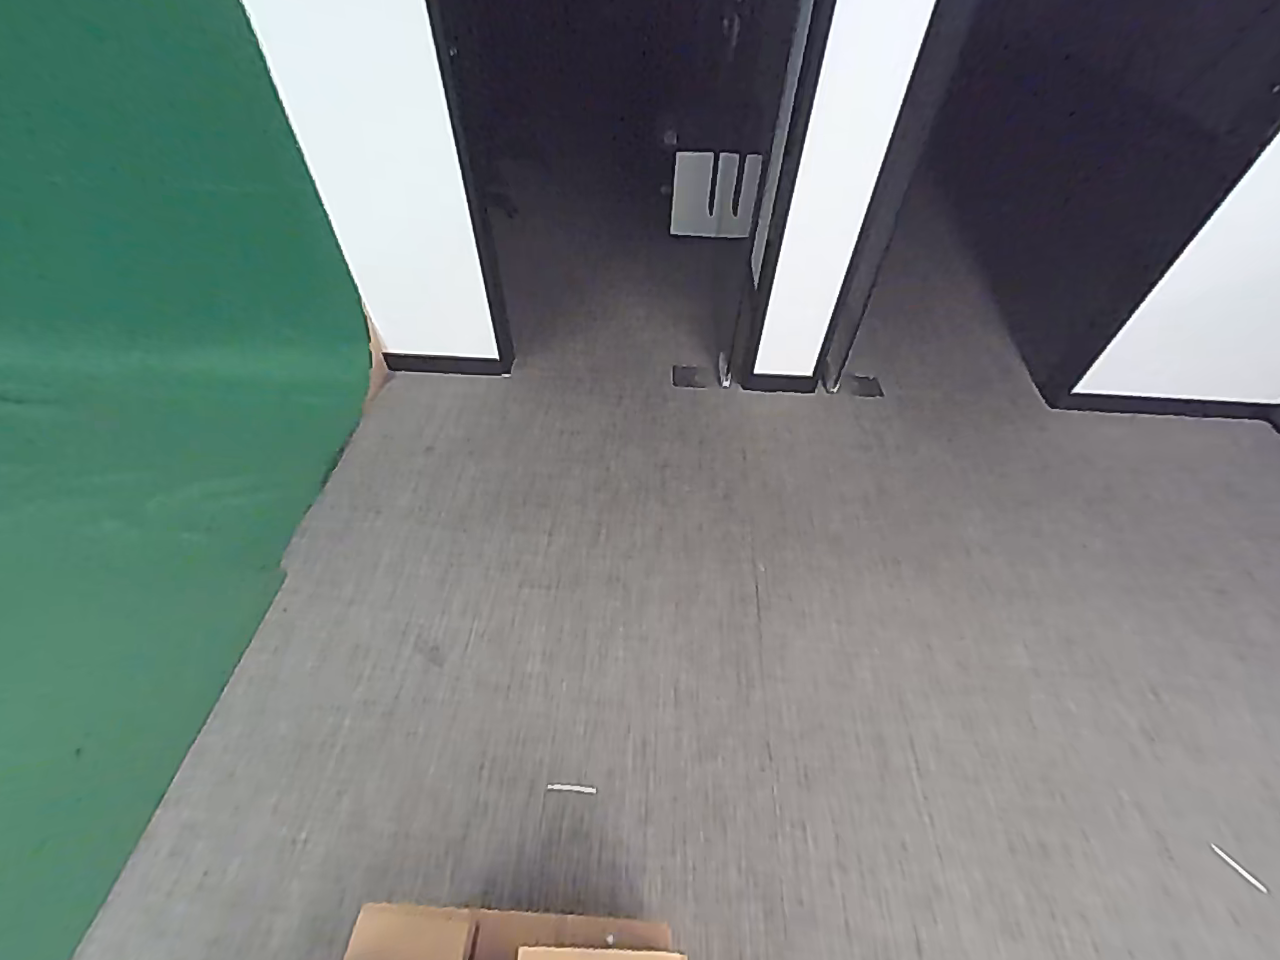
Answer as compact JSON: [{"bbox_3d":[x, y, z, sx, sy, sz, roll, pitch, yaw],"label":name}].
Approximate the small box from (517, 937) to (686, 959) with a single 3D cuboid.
[{"bbox_3d":[-0.044,0.594,0.567,0.179,0.176,0.168,2,48,3],"label":"small box"}]
